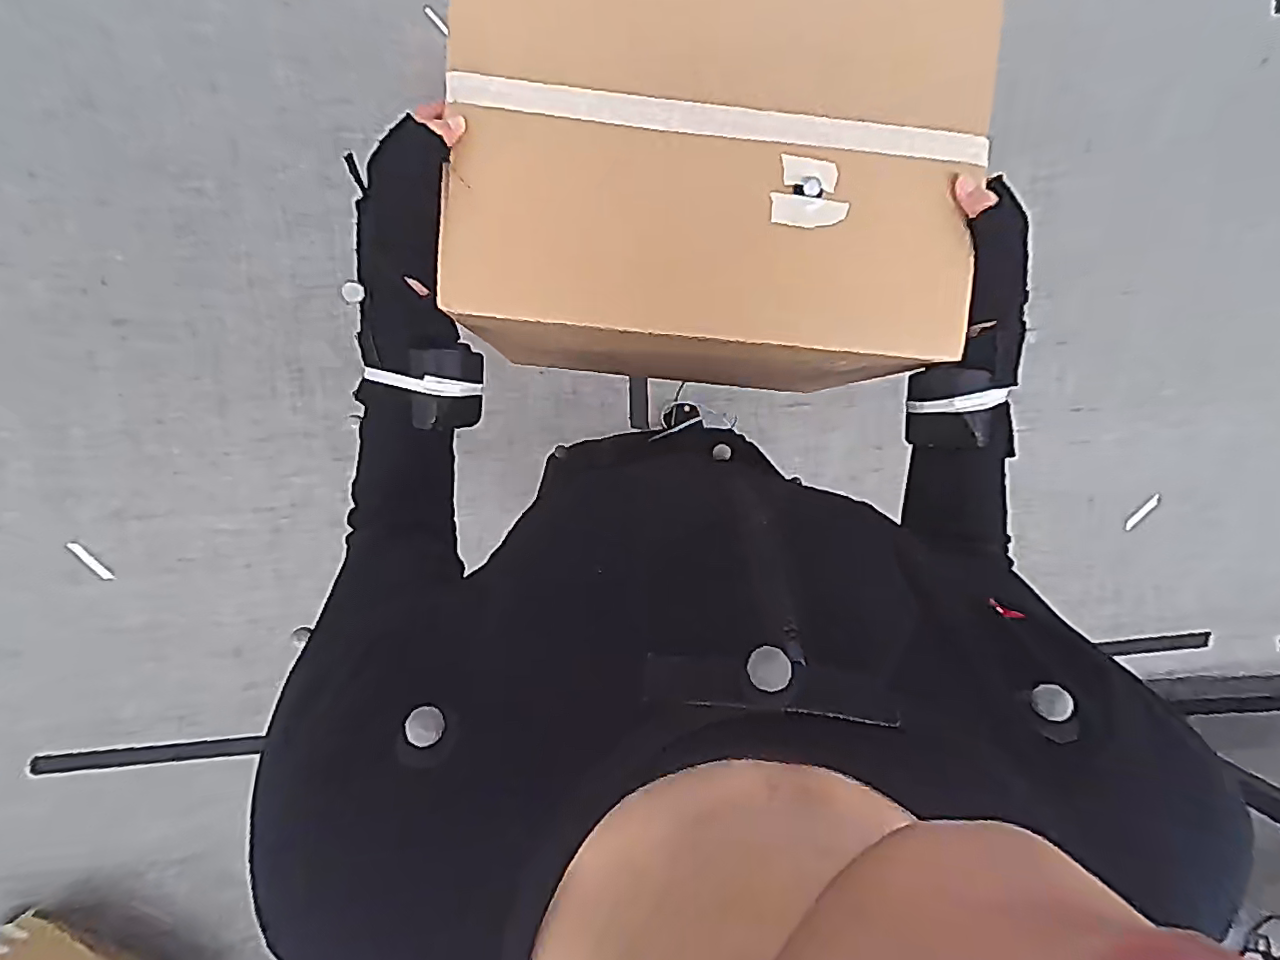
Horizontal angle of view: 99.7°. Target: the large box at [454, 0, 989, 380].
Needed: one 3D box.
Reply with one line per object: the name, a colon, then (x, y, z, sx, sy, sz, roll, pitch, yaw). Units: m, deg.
large box: (0.052, -0.286, 0.559, 0.408, 0.320, 0.320, 5, 96, -5)
